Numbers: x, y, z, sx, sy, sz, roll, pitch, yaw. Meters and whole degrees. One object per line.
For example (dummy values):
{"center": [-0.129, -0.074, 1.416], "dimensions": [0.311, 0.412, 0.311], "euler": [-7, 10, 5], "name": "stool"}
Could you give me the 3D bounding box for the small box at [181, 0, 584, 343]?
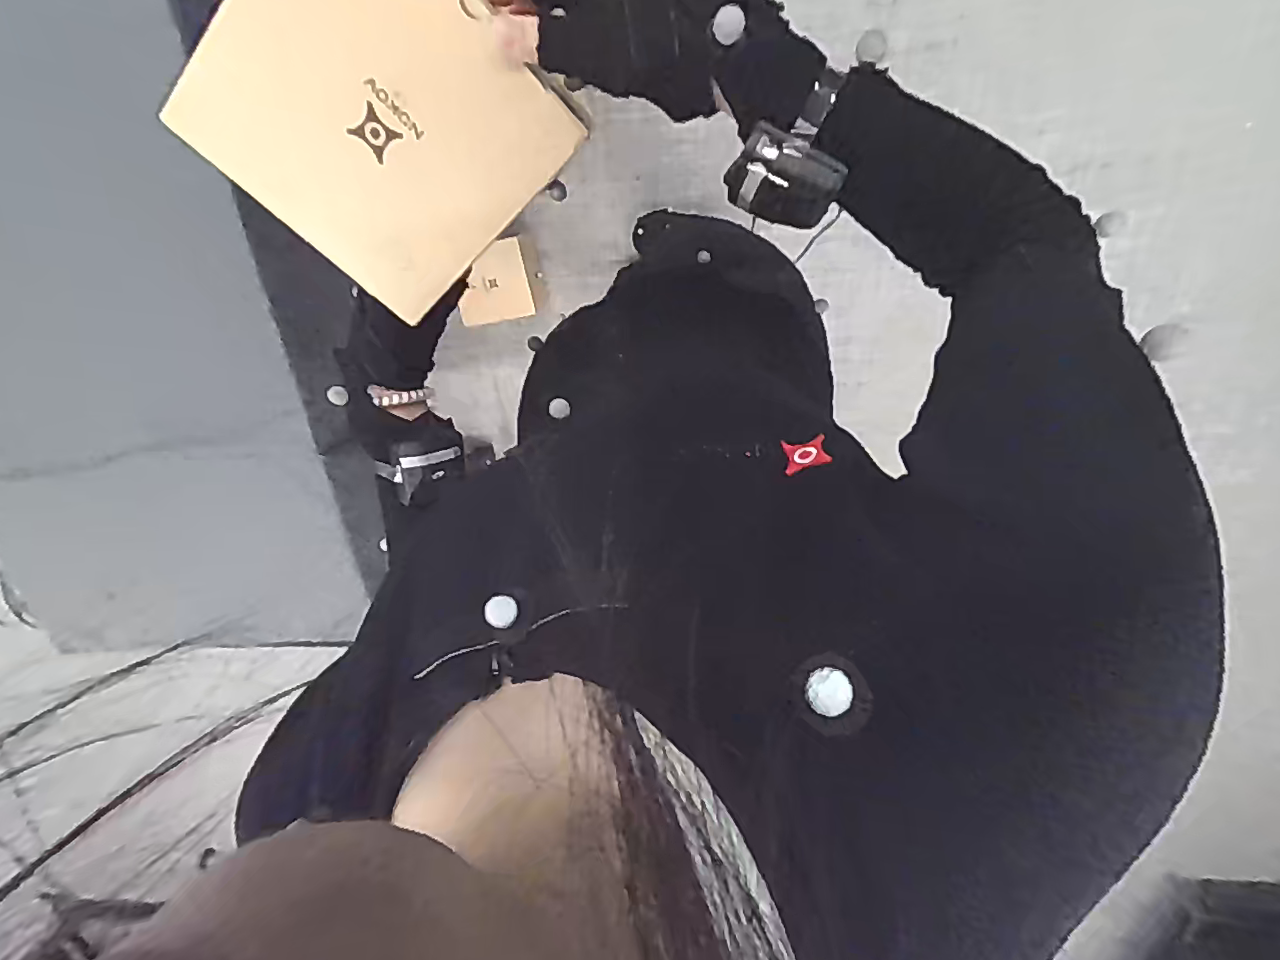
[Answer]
{"center": [-0.151, -0.237, 0.380], "dimensions": [0.179, 0.176, 0.168], "euler": [-36, 122, 20], "name": "small box"}
